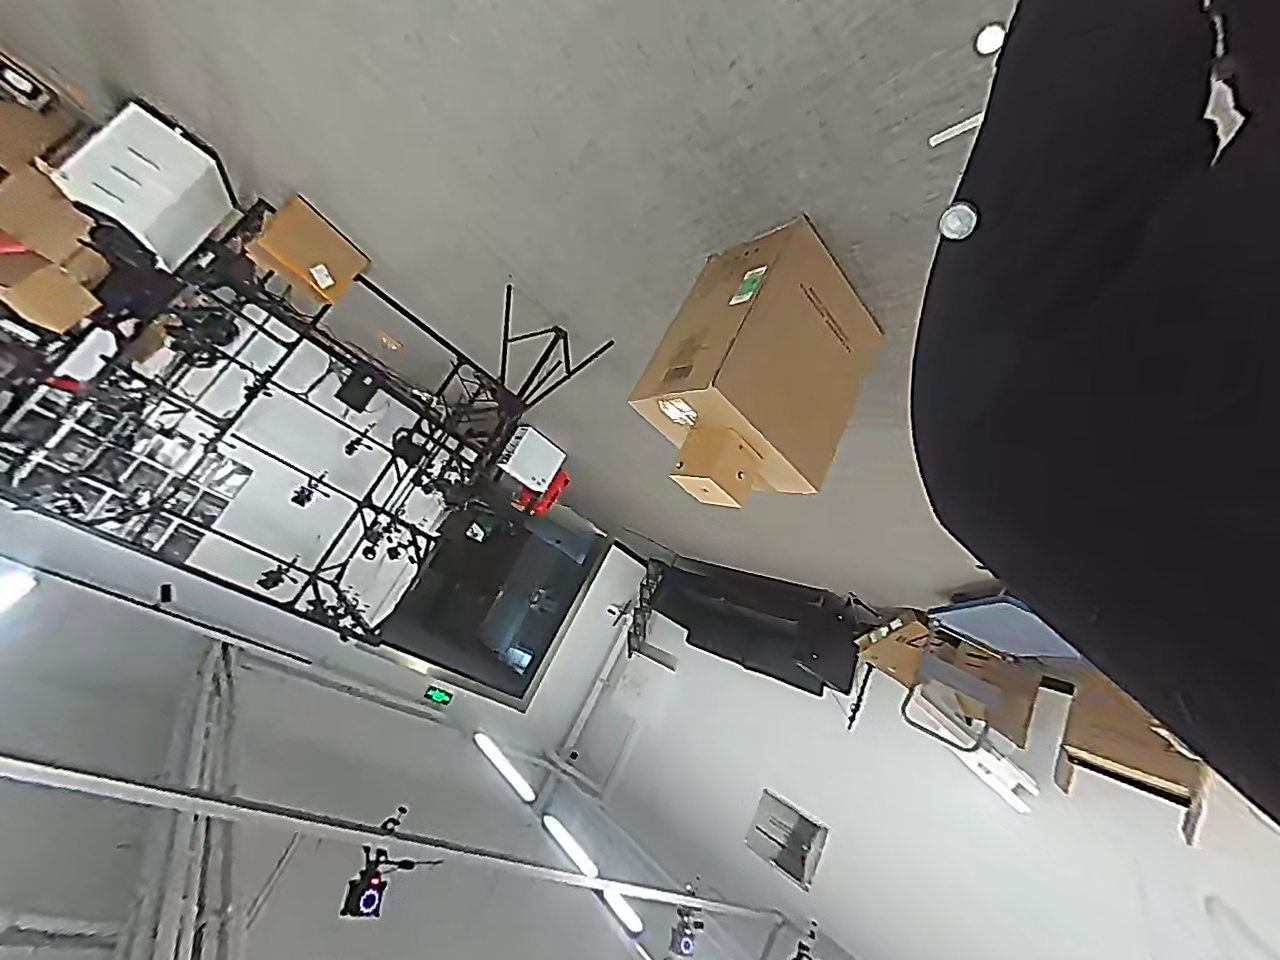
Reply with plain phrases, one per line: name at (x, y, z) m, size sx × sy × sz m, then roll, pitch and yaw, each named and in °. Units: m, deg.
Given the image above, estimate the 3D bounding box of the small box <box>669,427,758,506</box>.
small box at (0.221, -0.042, 1.569) m, size 0.168 × 0.176 × 0.179 m, roll 38°, pitch 161°, yaw -33°
